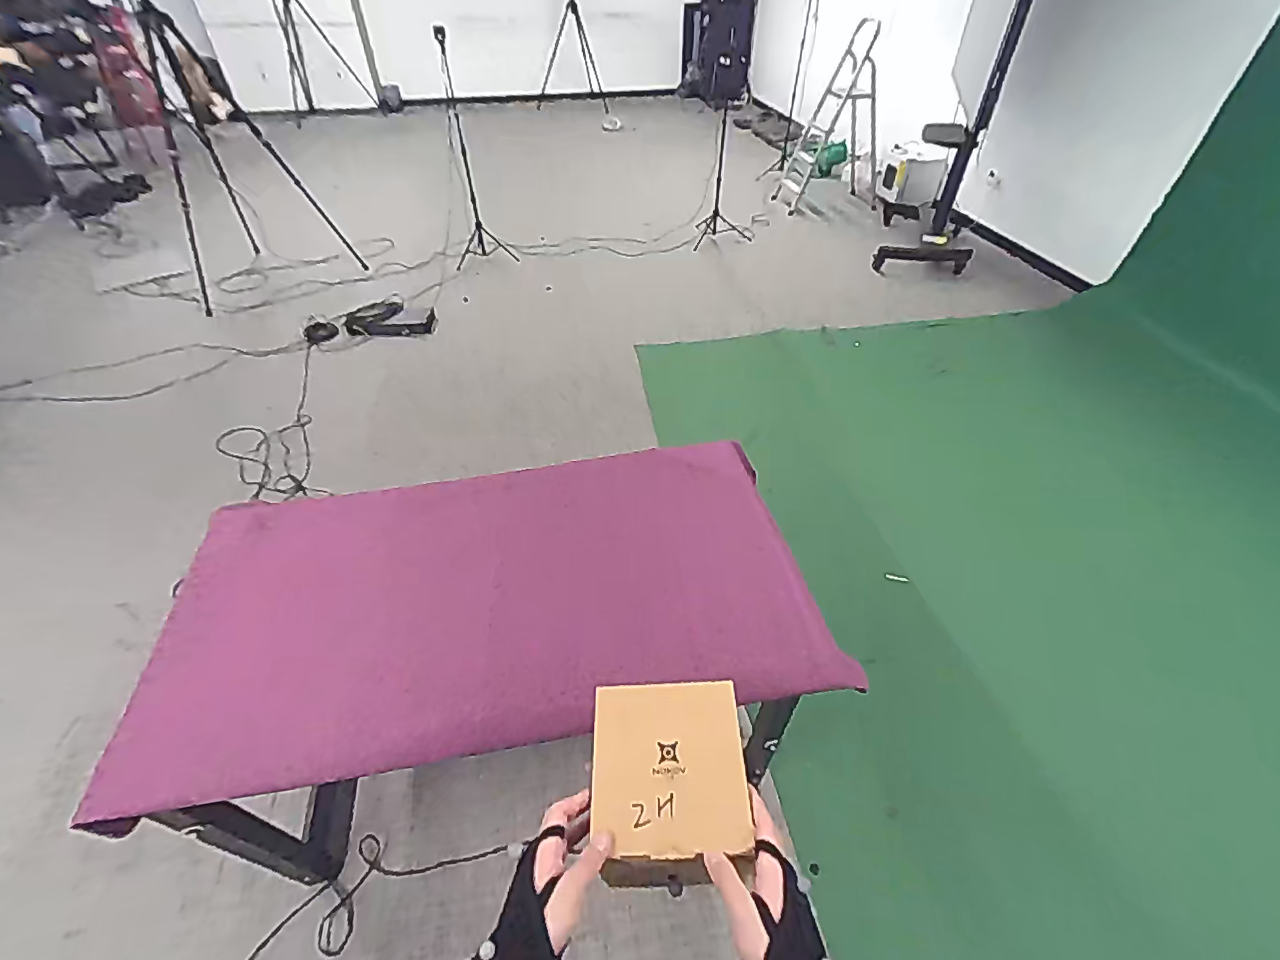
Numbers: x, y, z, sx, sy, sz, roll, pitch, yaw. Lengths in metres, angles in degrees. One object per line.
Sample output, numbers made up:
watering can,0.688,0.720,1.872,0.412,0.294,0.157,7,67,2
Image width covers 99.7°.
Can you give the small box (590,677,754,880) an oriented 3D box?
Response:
small box,0.037,0.357,0.647,0.168,0.176,0.179,-4,46,3
